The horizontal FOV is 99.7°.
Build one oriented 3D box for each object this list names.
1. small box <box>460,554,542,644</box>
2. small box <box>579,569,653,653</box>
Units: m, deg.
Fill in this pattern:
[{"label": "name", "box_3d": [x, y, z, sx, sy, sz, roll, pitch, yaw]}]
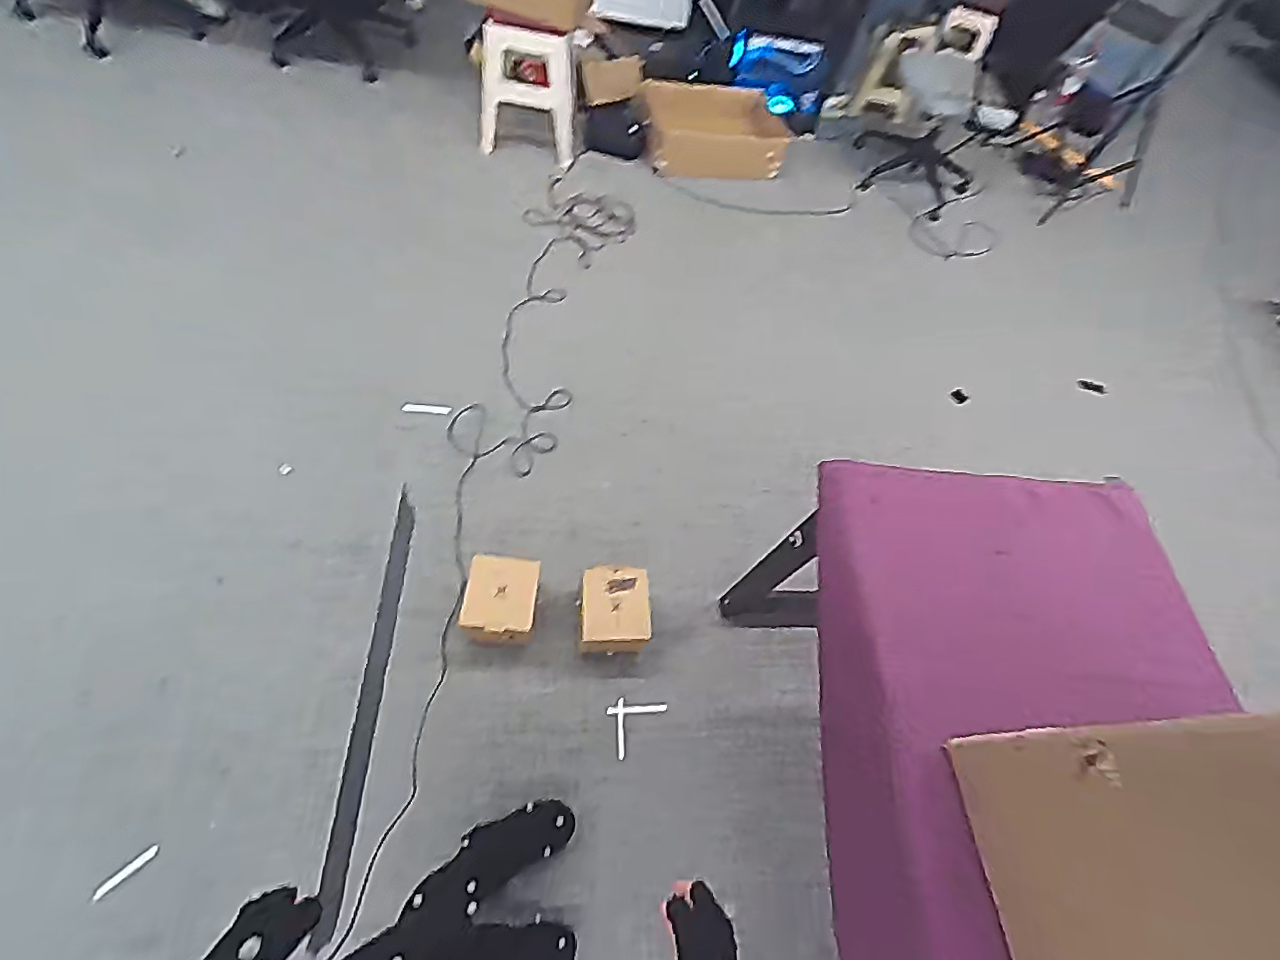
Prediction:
[{"label": "small box", "box_3d": [-0.342, 0.305, 1.356, 0.168, 0.176, 0.179, 8, 59, -8]}, {"label": "small box", "box_3d": [-0.067, 0.339, 1.389, 0.168, 0.176, 0.179, 2, 62, -10]}]
